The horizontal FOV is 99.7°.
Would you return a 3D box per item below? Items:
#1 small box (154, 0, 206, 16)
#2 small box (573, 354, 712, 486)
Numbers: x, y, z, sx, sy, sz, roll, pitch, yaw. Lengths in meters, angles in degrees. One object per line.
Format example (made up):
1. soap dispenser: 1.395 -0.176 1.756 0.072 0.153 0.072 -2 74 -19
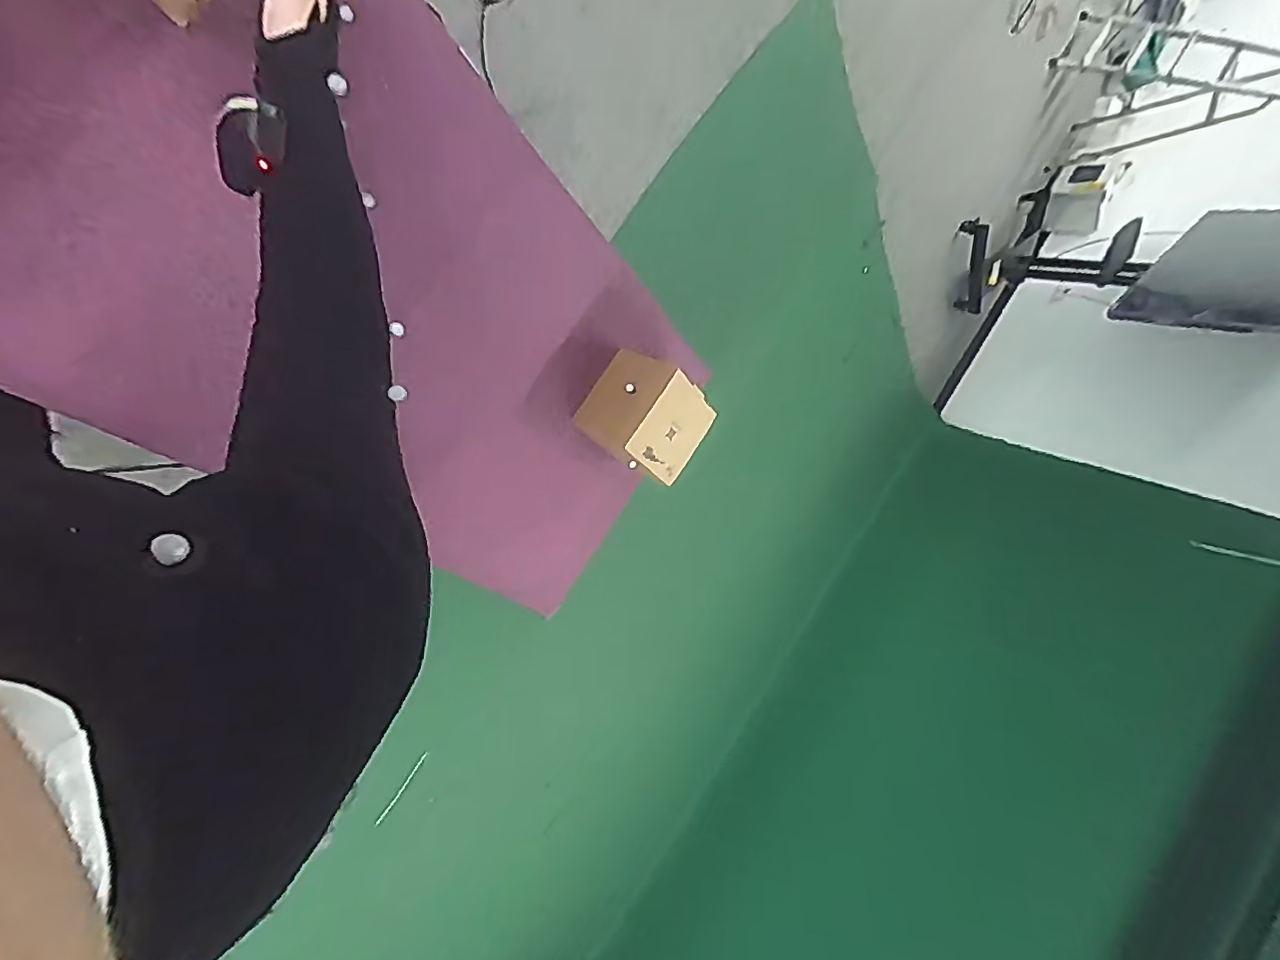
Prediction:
1. small box: -0.400 -0.530 0.438 0.179 0.176 0.168 -54 138 -7
2. small box: 0.003 -0.122 1.052 0.179 0.176 0.168 -57 137 -6
